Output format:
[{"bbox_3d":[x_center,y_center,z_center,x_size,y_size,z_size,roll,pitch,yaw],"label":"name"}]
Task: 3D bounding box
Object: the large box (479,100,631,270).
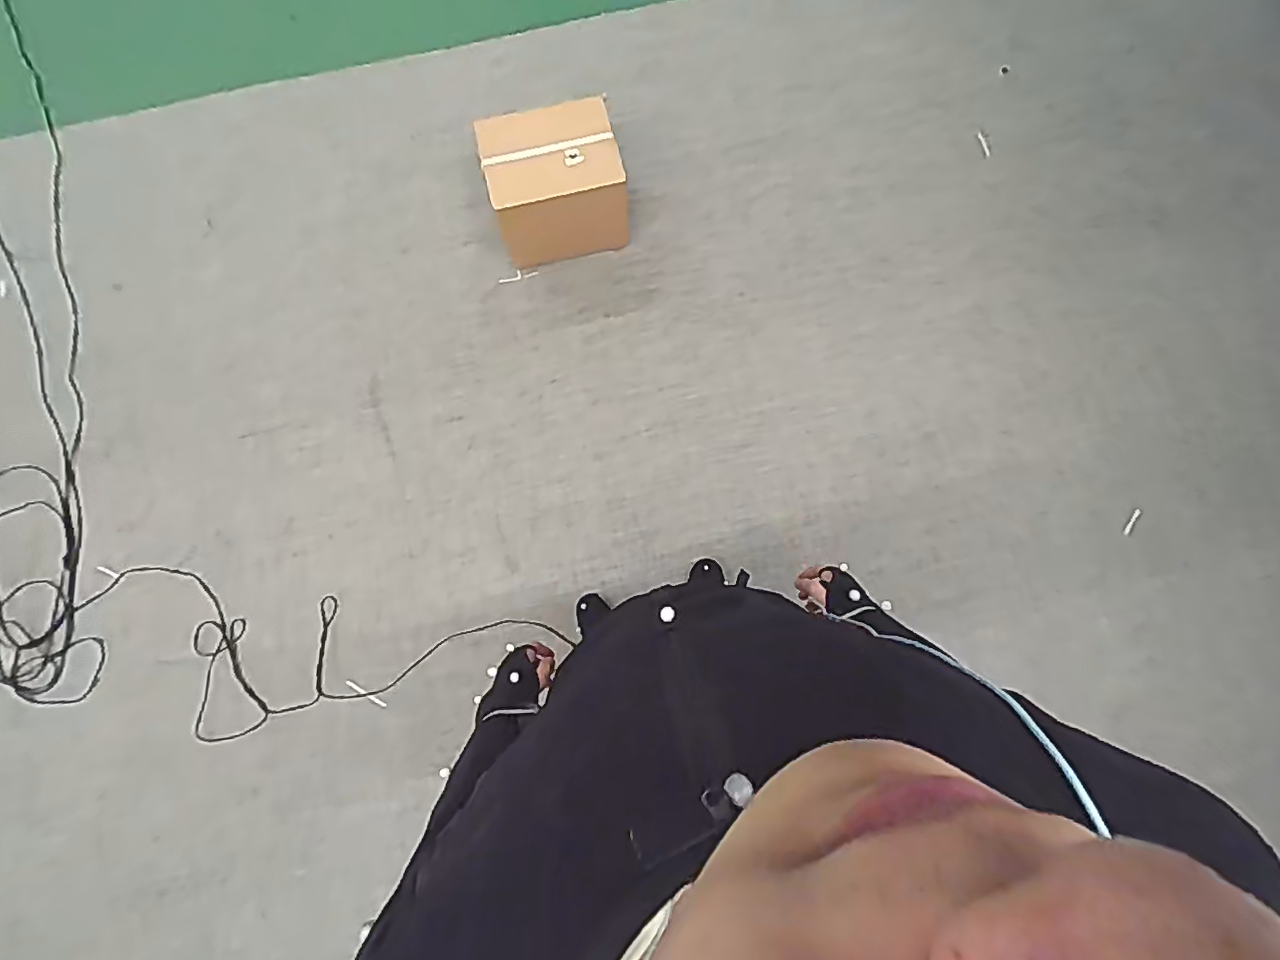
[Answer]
[{"bbox_3d":[-0.261,-0.938,1.755,0.408,0.320,0.320,-14,79,-3],"label":"large box"}]
